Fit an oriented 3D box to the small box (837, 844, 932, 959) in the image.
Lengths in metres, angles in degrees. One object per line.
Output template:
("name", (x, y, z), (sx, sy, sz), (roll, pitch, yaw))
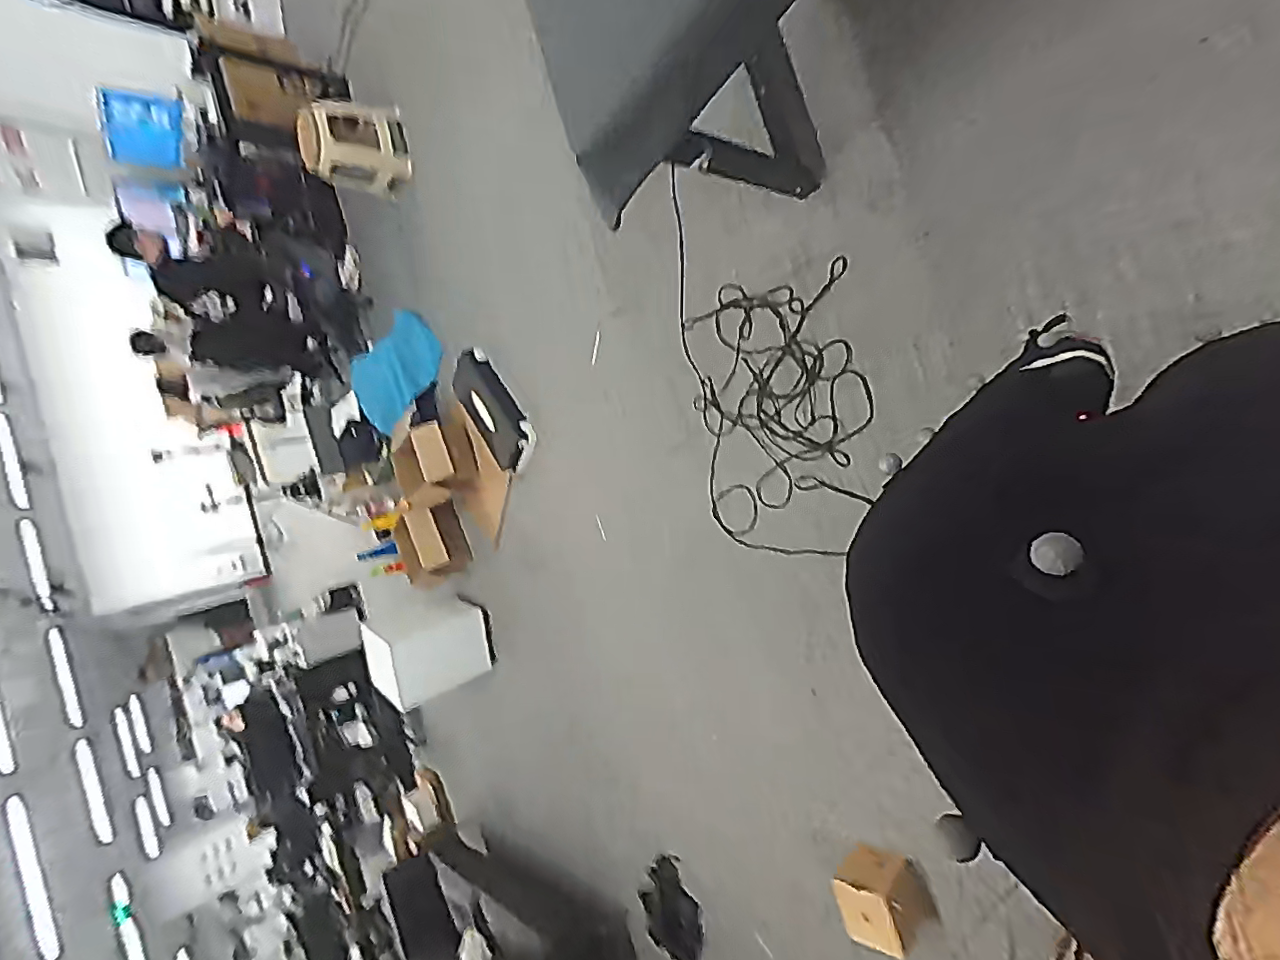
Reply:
("small box", (0.702, 1.197, 1.545), (0.168, 0.176, 0.179), (-23, 83, 49))
